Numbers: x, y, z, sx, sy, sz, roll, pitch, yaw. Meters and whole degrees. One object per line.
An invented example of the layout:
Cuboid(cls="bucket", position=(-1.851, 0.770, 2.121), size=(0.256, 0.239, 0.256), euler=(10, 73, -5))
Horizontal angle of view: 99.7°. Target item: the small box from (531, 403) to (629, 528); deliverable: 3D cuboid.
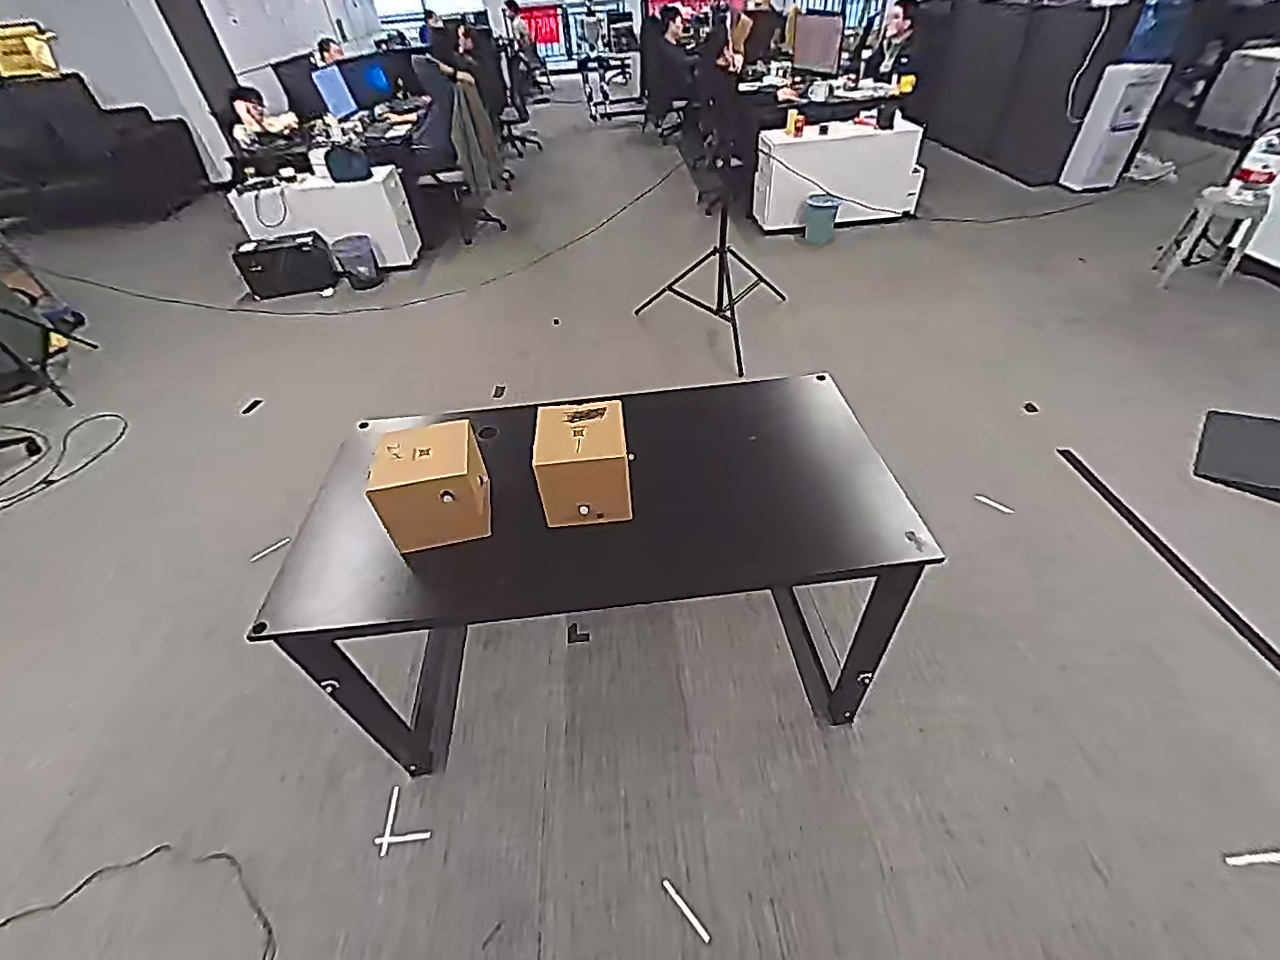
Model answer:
Cuboid(cls="small box", position=(-0.111, -0.029, 1.065), size=(0.168, 0.176, 0.179), euler=(-6, 44, 0))

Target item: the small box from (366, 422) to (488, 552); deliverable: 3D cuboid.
Cuboid(cls="small box", position=(-0.397, 0.016, 1.045), size=(0.179, 0.176, 0.168), euler=(-11, 43, -6))
